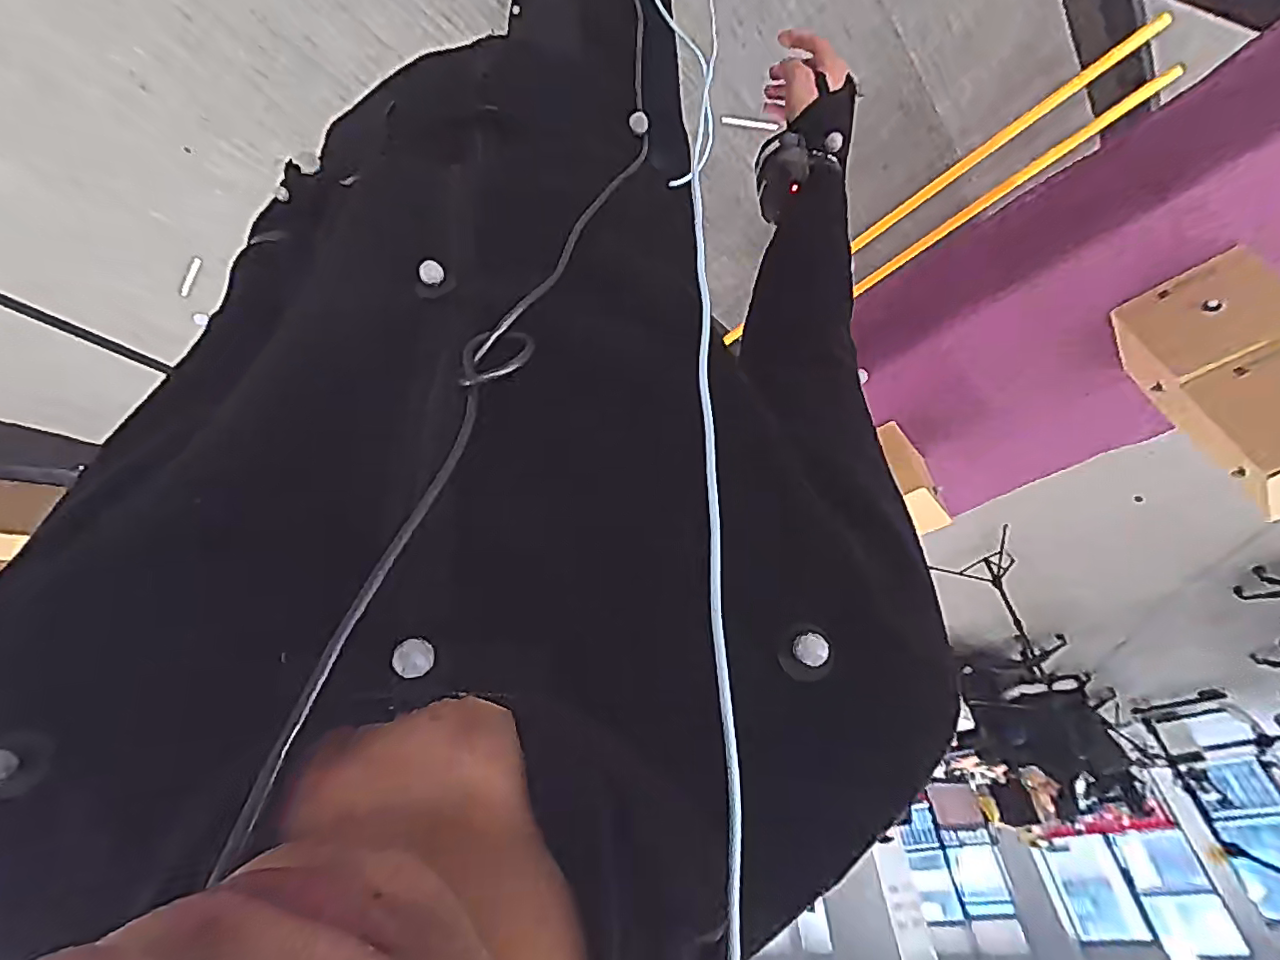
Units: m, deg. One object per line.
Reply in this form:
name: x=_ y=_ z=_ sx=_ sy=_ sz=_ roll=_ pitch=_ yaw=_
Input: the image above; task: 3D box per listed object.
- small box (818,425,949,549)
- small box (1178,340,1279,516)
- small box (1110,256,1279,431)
small box: x=0.488 y=0.012 z=1.100 sx=0.168 sy=0.176 sz=0.179 roll=-31 pitch=137 yaw=30
small box: x=0.899 y=-0.082 z=0.746 sx=0.179 sy=0.176 sz=0.168 roll=28 pitch=133 yaw=-36
small box: x=0.878 y=-0.215 z=0.841 sx=0.168 sy=0.176 sz=0.179 roll=-30 pitch=136 yaw=30
